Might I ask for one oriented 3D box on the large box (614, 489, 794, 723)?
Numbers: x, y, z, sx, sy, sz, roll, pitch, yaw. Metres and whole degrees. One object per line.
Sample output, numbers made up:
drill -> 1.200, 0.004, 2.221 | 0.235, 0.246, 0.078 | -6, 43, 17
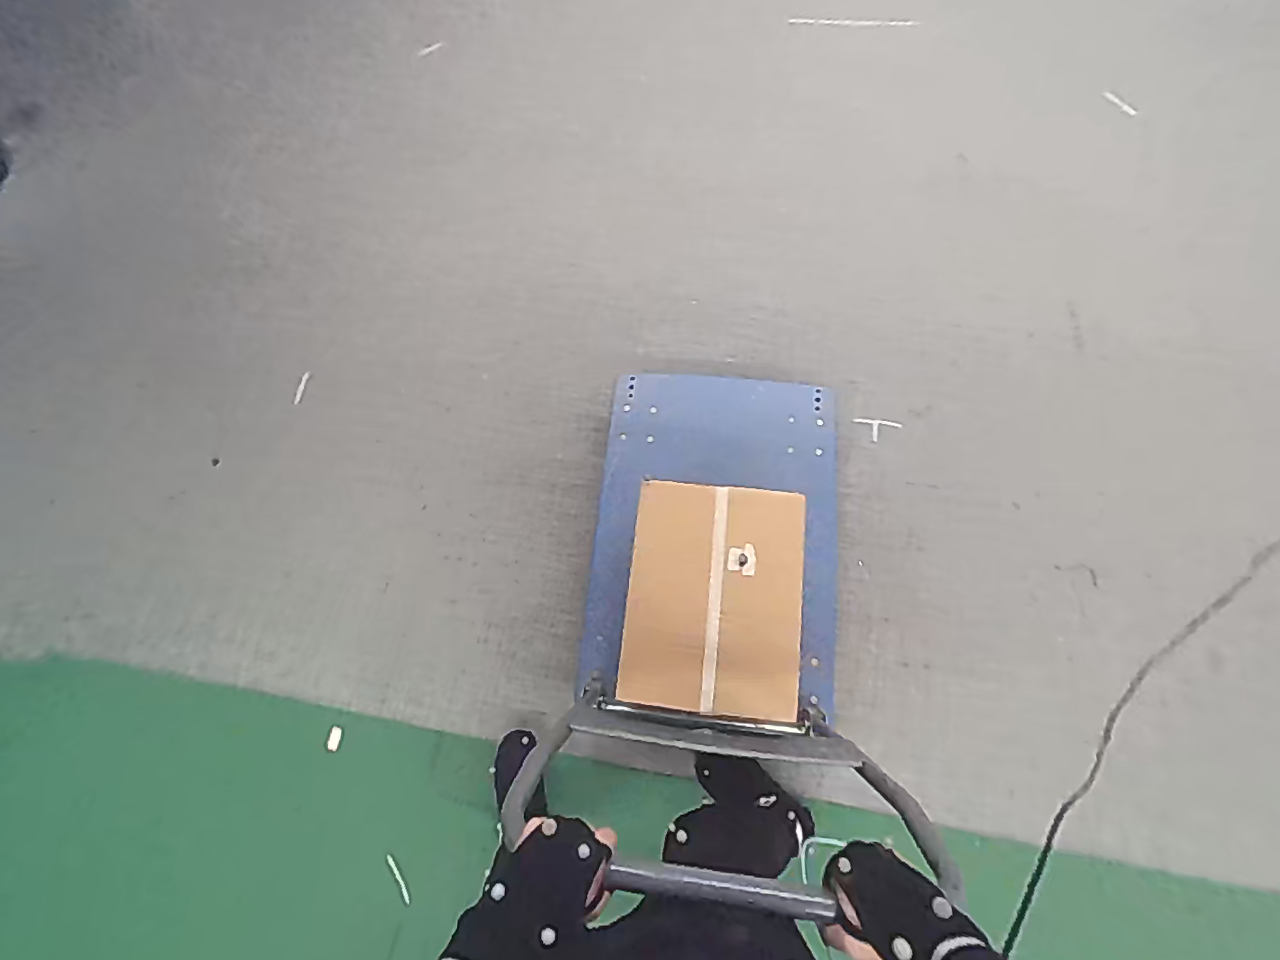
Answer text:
large box -> 0.136, 0.262, 1.140 | 0.320, 0.320, 0.408 | 6, 74, 5
